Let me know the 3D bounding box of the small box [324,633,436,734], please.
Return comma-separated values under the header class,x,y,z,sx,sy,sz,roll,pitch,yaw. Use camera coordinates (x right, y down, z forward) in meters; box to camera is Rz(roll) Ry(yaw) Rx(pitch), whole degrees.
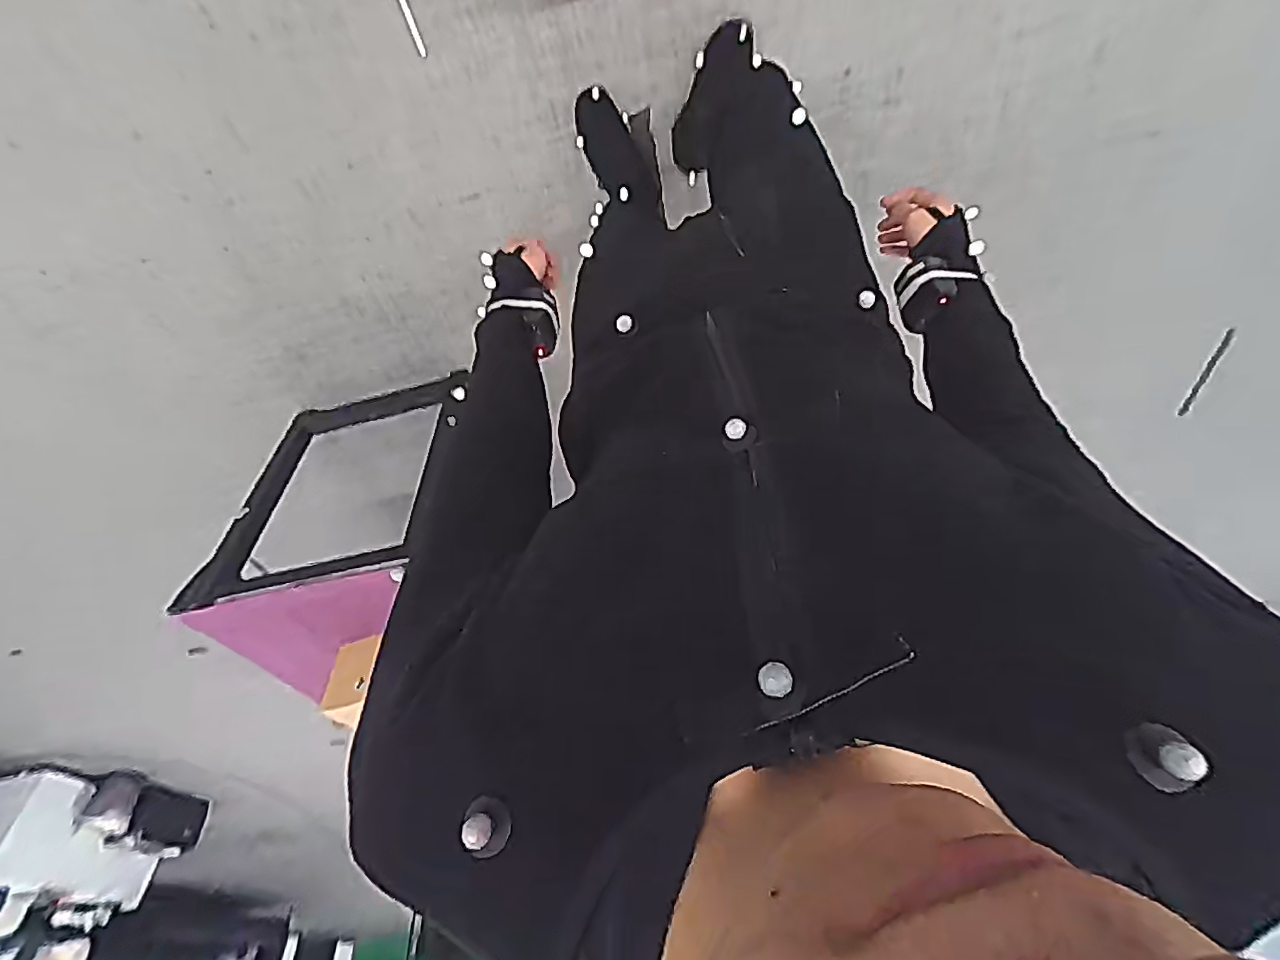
class,x,y,z,sx,sy,sz,roll,pitch,yaw
small box,-0.622,0.495,1.324,0.179,0.176,0.168,-17,134,10
